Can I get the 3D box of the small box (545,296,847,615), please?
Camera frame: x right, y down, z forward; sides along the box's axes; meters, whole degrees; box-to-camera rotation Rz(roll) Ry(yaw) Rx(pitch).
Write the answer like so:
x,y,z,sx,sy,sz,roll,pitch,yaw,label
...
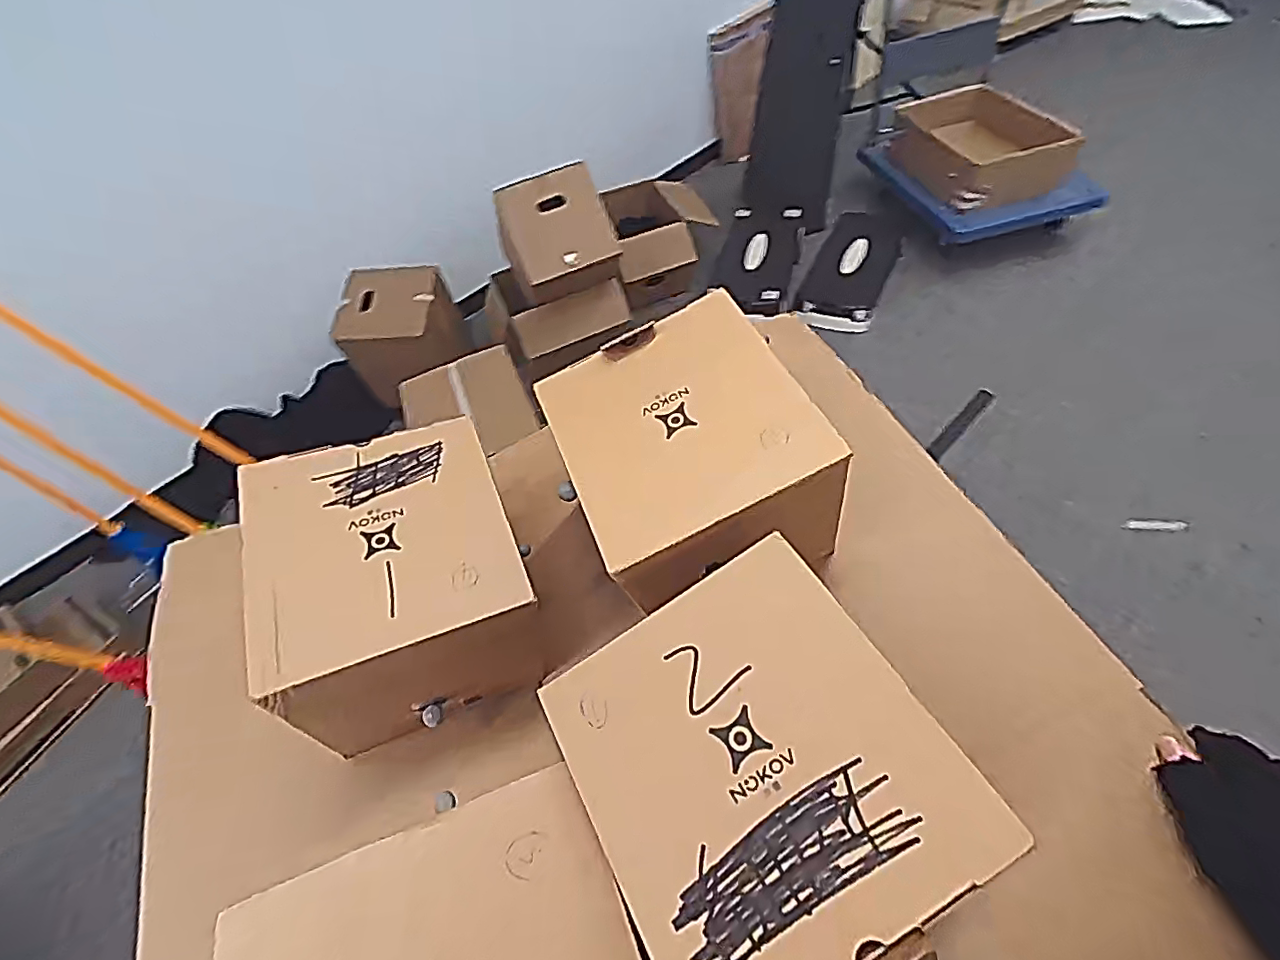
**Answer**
x,y,z,sx,sy,sz,roll,pitch,yaw,label
0.048,-0.006,0.445,0.168,0.176,0.179,-27,57,1,small box
